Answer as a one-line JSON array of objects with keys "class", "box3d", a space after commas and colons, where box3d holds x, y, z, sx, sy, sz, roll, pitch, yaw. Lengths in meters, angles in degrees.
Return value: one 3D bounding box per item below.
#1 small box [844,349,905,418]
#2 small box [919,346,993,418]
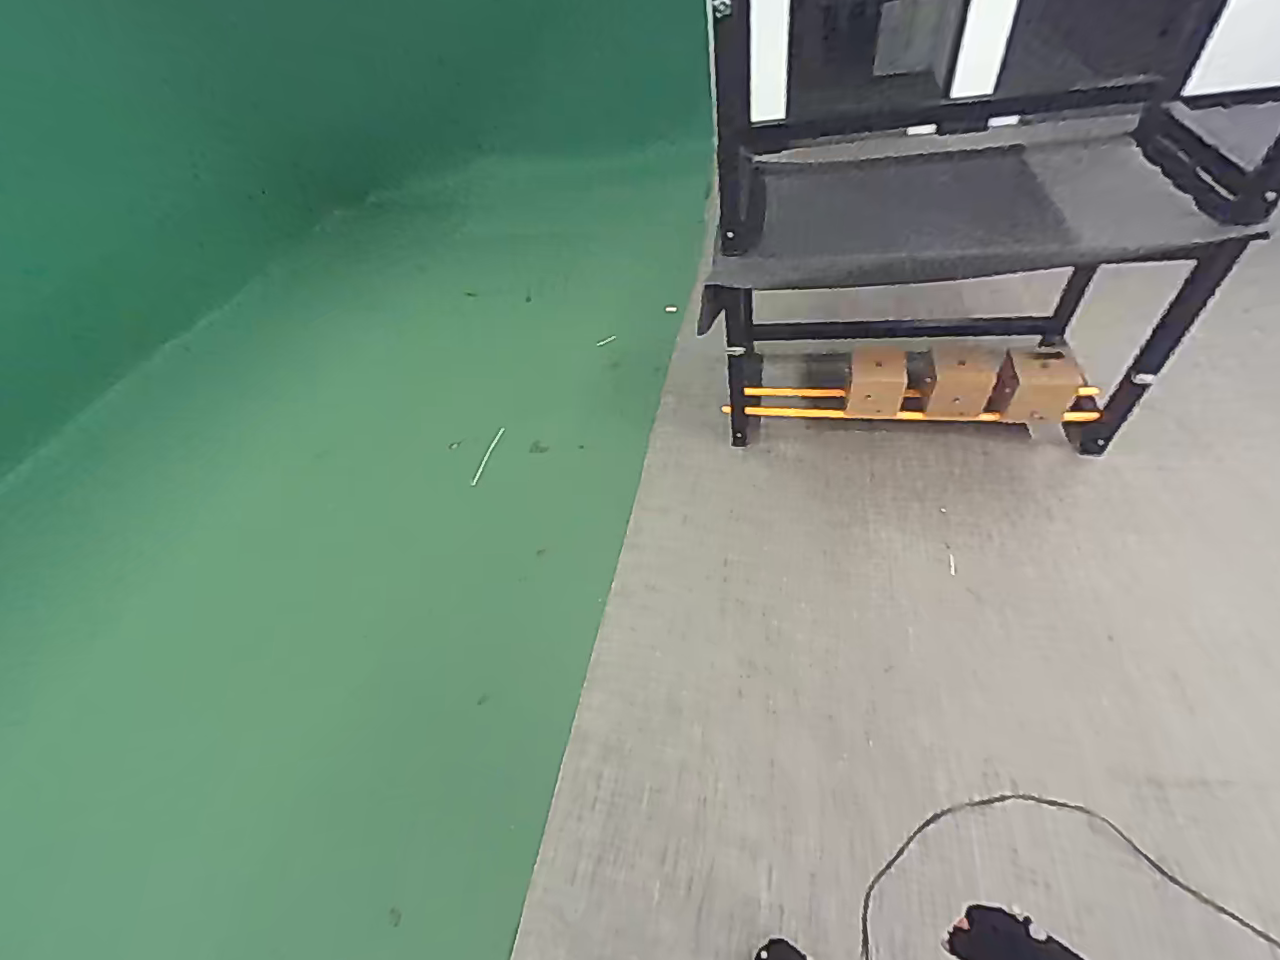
[{"class": "small box", "box3d": [0.796, -0.328, 1.845, 0.168, 0.176, 0.179, 4, 52, 14]}, {"class": "small box", "box3d": [1.036, -0.321, 1.786, 0.168, 0.176, 0.179, 2, 51, 14]}]
